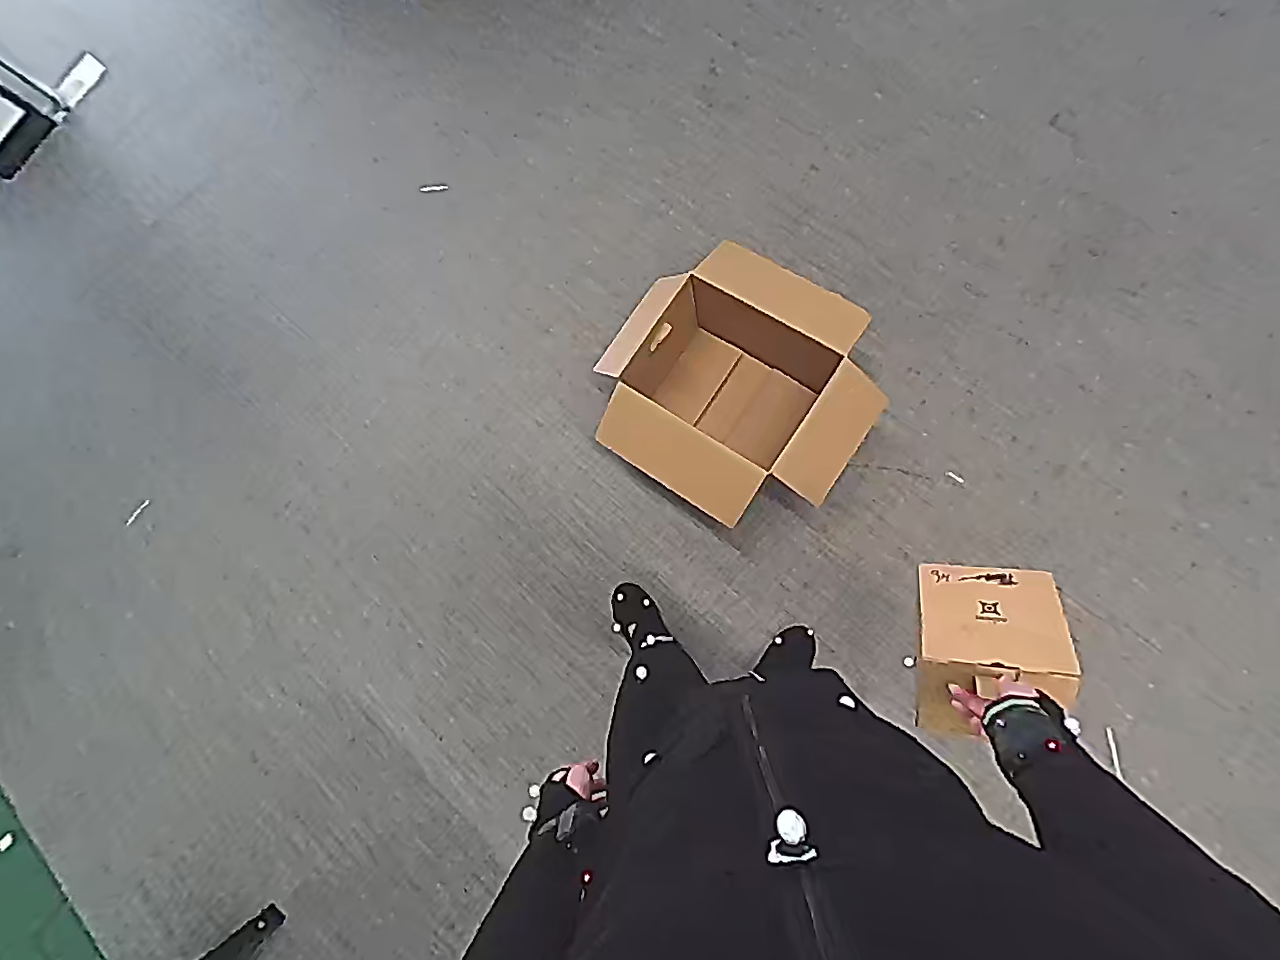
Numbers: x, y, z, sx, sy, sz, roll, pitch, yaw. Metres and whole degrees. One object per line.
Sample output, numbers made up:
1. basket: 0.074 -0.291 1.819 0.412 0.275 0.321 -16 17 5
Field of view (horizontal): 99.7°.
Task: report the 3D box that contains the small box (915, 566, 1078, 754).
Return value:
1. small box: 0.480 0.246 0.753 0.168 0.179 0.176 1 125 25
